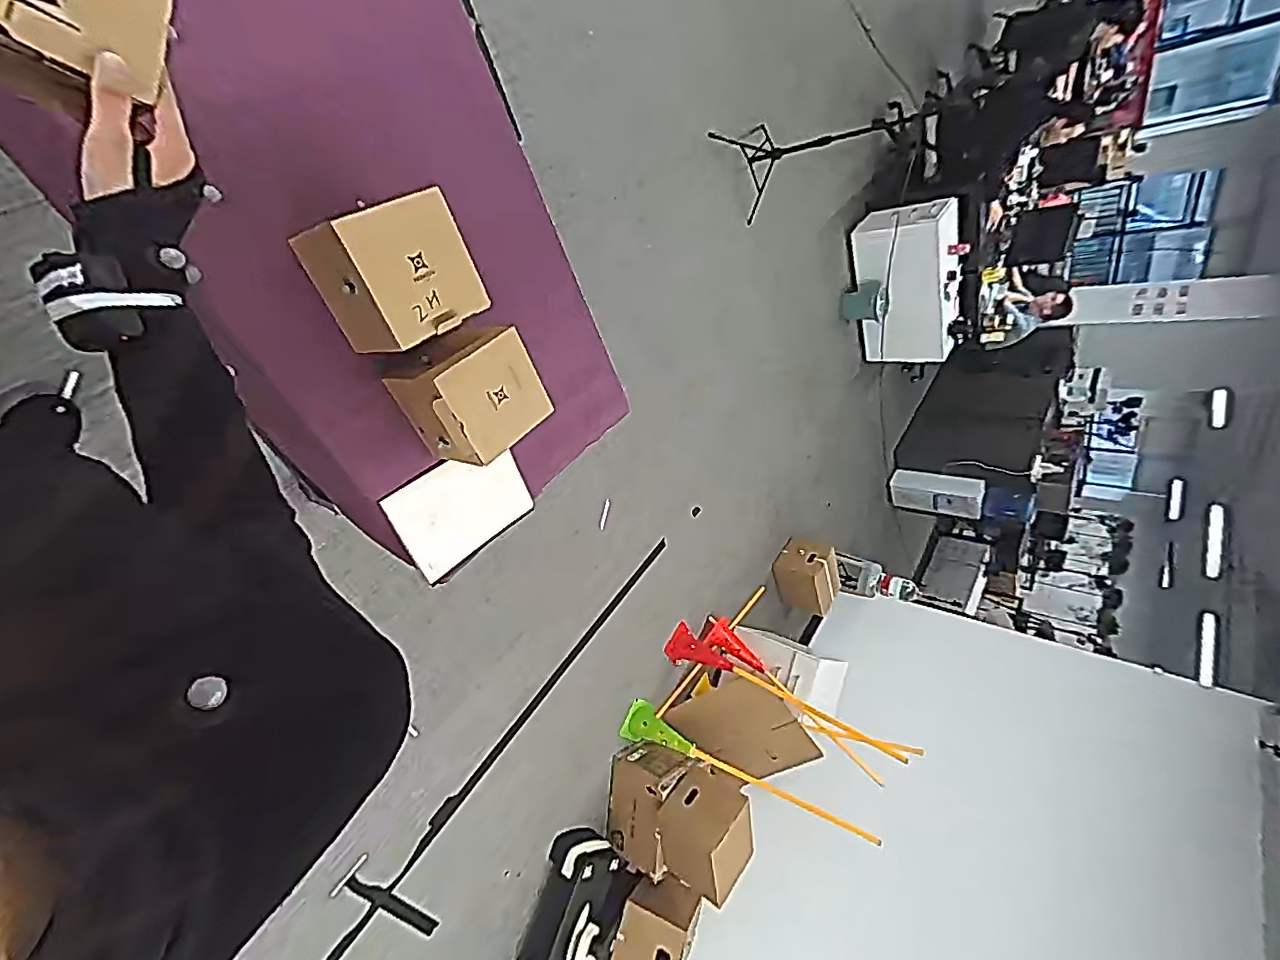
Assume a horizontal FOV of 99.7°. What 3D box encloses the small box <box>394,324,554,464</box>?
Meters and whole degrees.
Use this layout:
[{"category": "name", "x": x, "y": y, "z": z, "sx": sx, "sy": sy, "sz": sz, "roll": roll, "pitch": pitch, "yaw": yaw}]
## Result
[{"category": "small box", "x": -0.287, "y": -0.149, "z": 0.920, "sx": 0.179, "sy": 0.176, "sz": 0.168, "roll": -47, "pitch": 131, "yaw": -33}]
